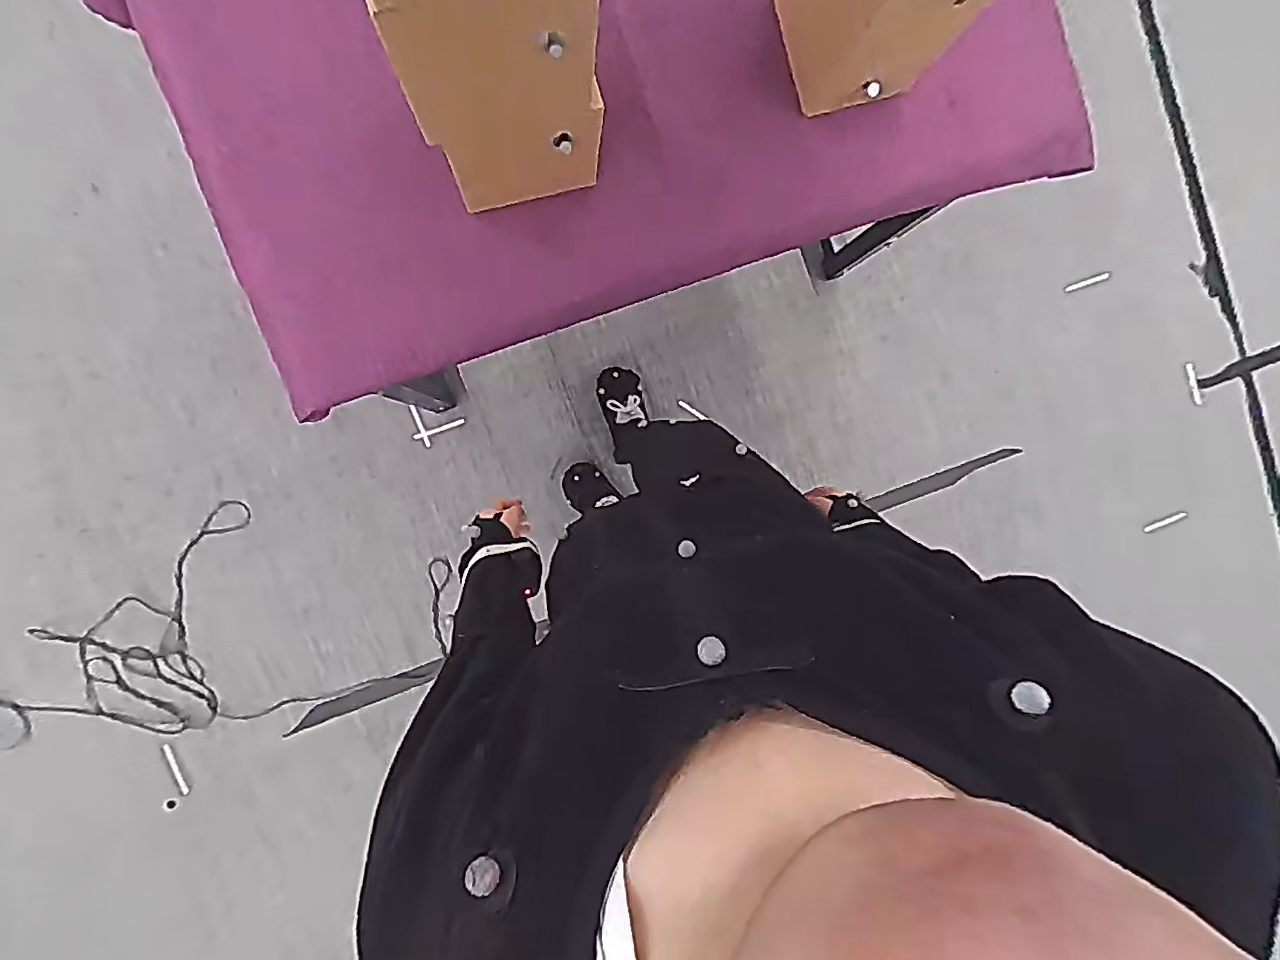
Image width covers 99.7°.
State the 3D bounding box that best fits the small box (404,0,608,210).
[{"bbox_3d":[-0.148,-0.448,0.635,0.179,0.176,0.168,-17,94,-6],"label":"small box"}]

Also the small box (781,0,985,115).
[{"bbox_3d":[0.297,-0.613,0.683,0.168,0.176,0.179,-17,95,-6],"label":"small box"}]
